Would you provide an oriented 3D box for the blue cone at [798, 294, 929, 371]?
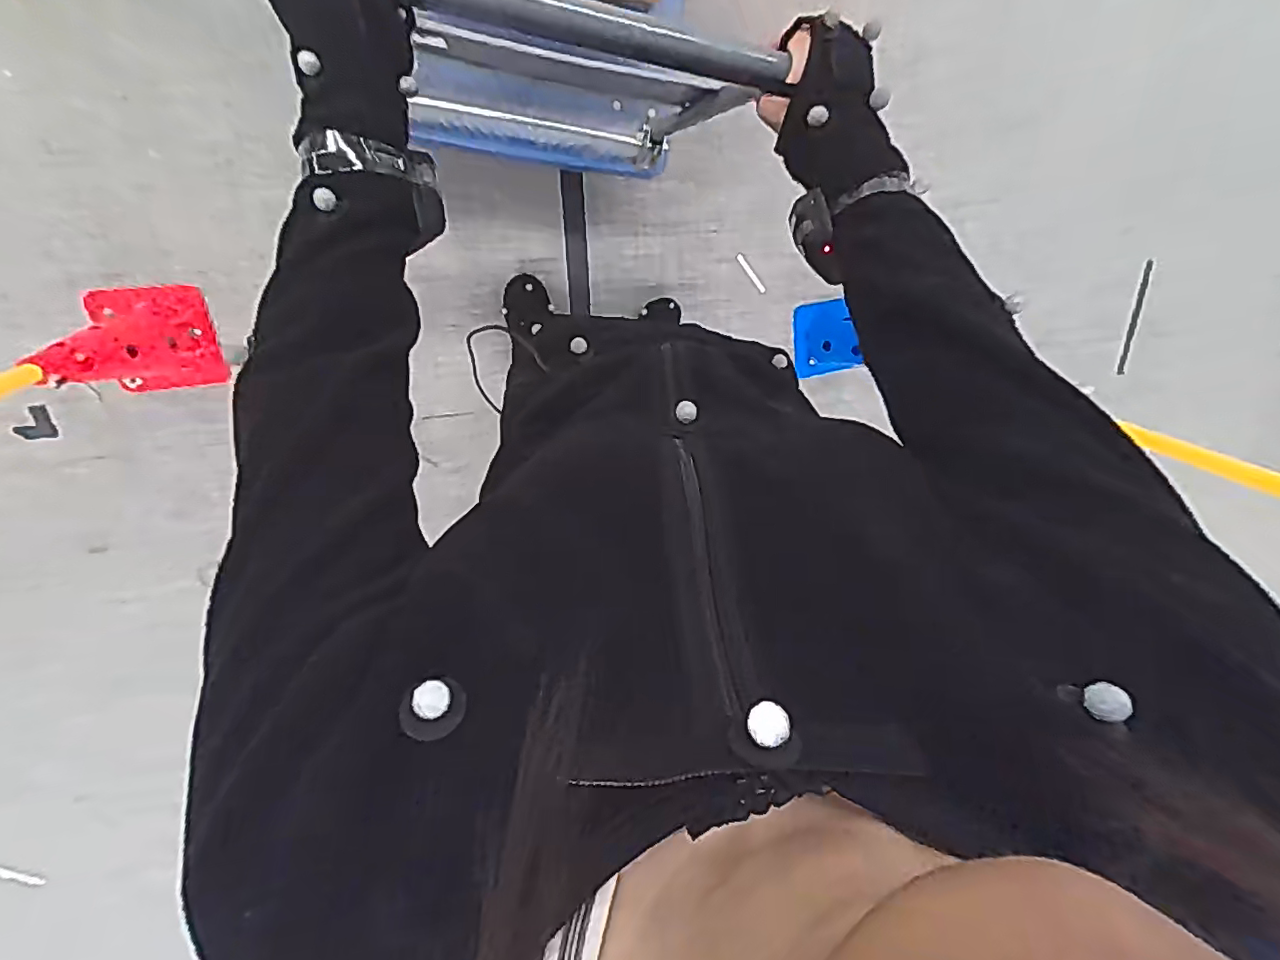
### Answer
[{"bbox_3d":[0.569,-0.349,1.349,0.193,0.380,0.192,-12,113,-12],"label":"blue cone"}]
